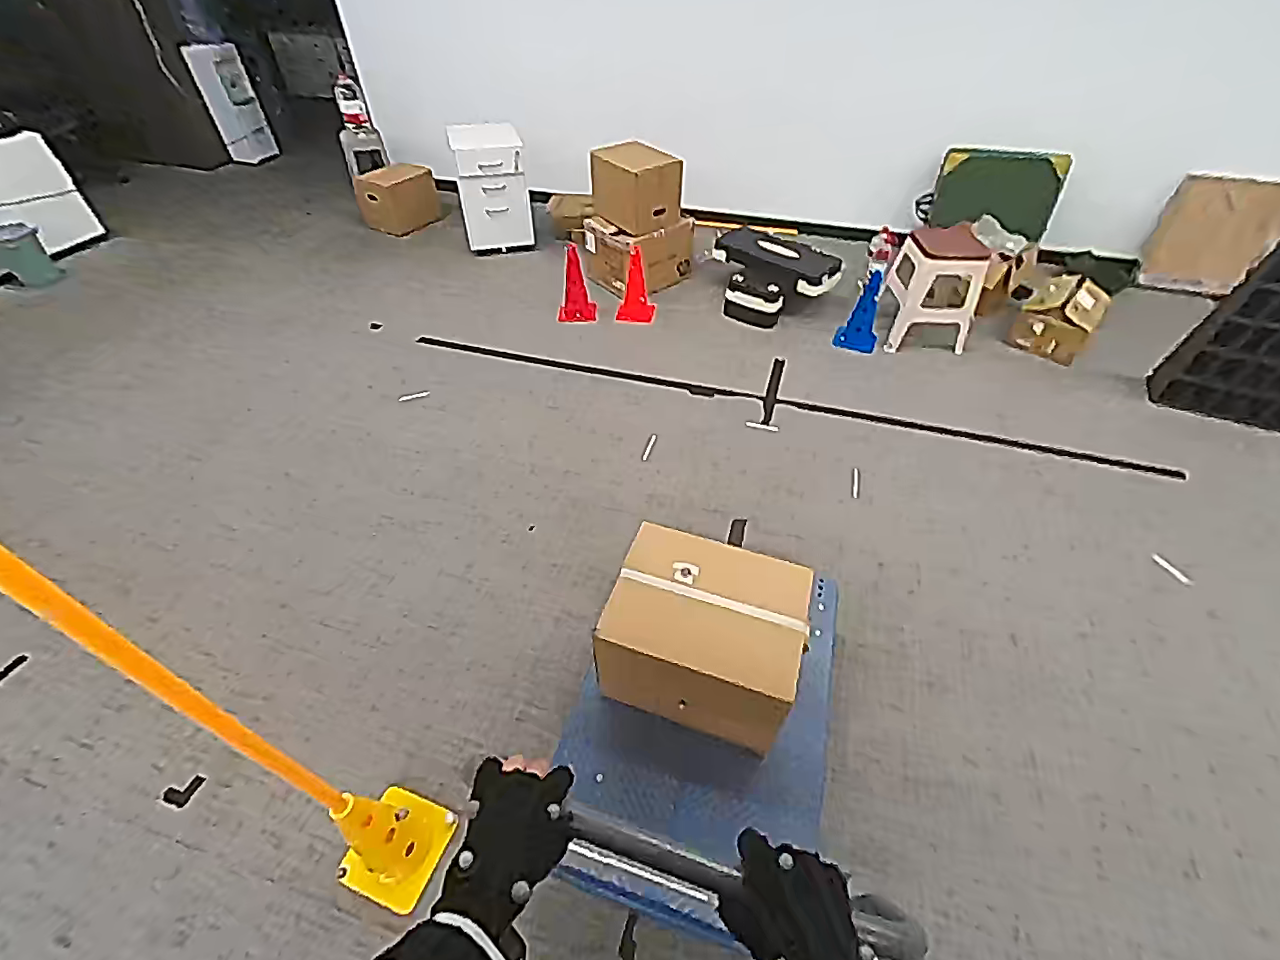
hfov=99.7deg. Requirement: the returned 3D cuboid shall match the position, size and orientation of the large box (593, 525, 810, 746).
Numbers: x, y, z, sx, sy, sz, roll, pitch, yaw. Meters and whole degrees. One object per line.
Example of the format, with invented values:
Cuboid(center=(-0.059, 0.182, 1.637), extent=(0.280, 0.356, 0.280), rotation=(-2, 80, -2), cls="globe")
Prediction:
Cuboid(center=(0.143, 0.357, 1.247), extent=(0.408, 0.320, 0.320), rotation=(14, 49, 14), cls="large box")
